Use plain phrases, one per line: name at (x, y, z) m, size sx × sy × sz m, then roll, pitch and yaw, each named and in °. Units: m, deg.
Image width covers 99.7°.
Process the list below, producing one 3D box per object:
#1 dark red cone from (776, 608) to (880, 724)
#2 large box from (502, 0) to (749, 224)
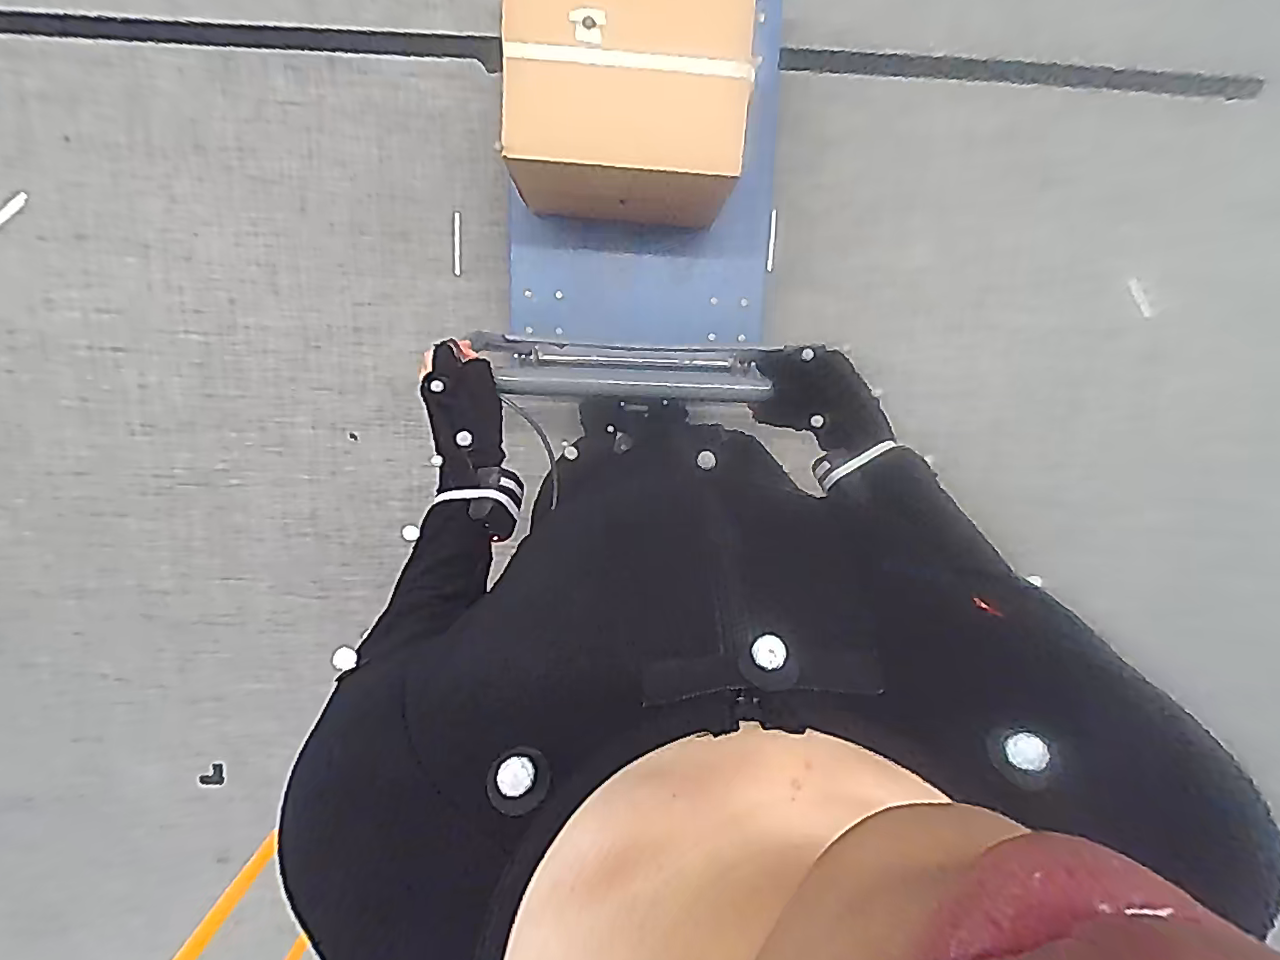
dark red cone at (0.498, 0.492, 1.382) m, size 0.201 × 0.394 × 0.202 m, roll 2°, pitch 100°, yaw -4°
large box at (-0.028, -0.701, 1.034) m, size 0.408 × 0.320 × 0.320 m, roll 3°, pitch 100°, yaw -2°
